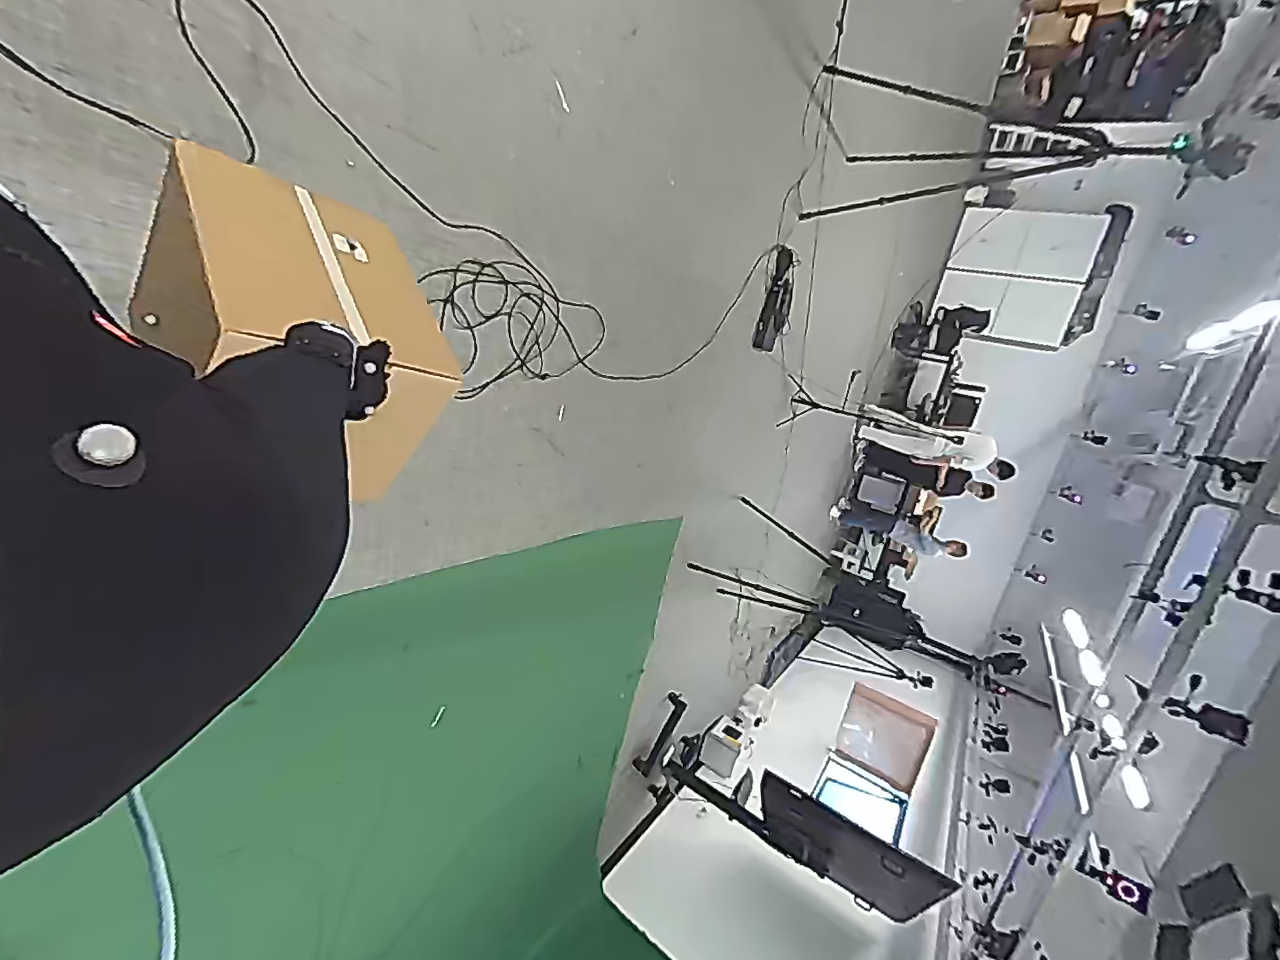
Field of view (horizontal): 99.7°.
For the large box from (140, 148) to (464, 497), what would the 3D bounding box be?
[{"bbox_3d":[-0.556,-0.219,0.874,0.320,0.408,0.320,-45,153,26],"label":"large box"}]
